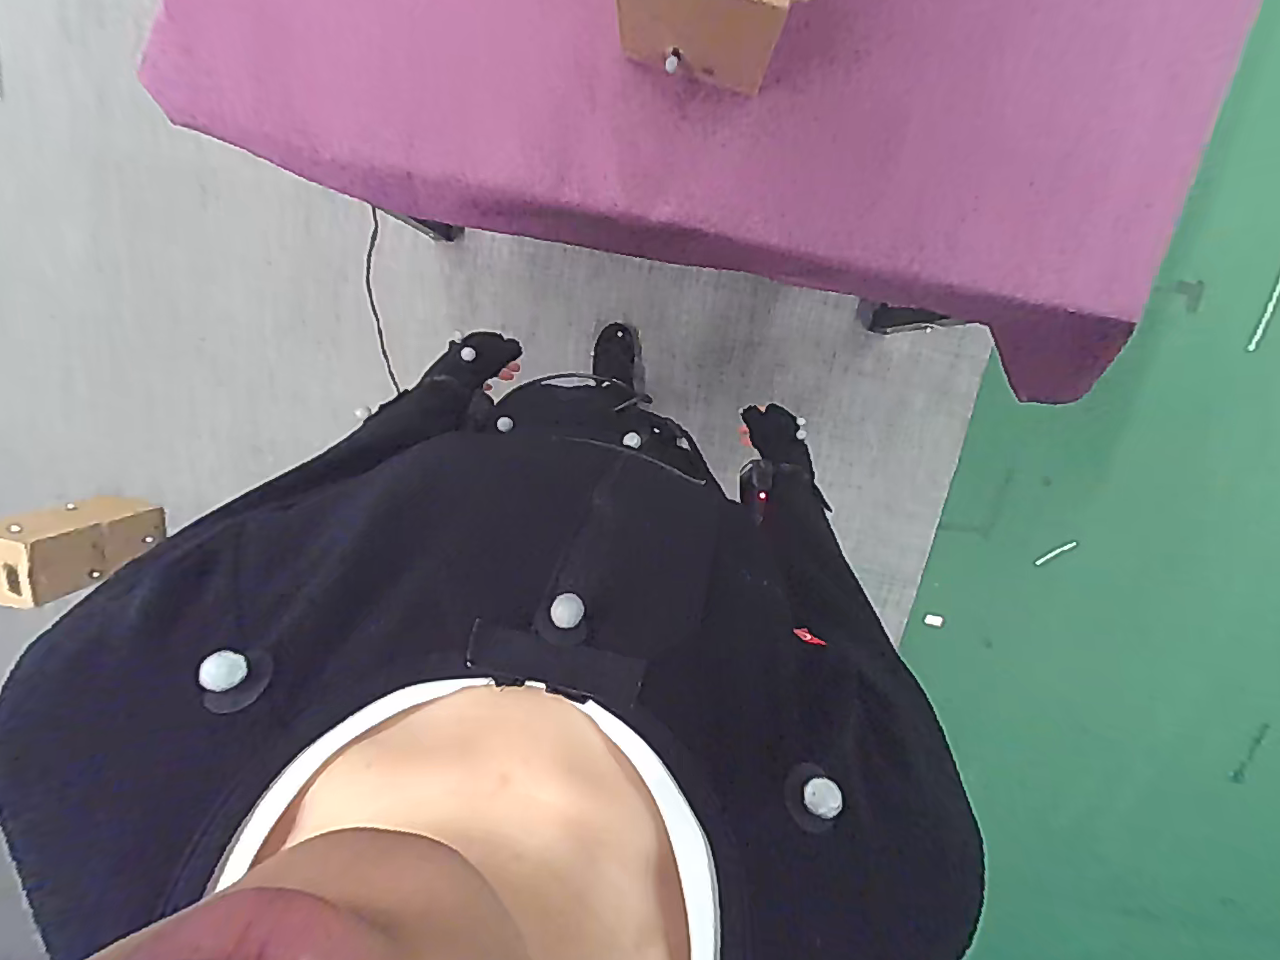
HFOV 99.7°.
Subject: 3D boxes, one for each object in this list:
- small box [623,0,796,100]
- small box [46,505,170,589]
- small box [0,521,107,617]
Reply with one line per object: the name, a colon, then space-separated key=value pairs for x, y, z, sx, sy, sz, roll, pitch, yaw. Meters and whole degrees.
small box: x=0.079 y=-0.526 z=0.533 sx=0.168 sy=0.176 sz=0.179 roll=15 pitch=103 yaw=-1
small box: x=-1.428 y=0.173 z=1.460 sx=0.179 sy=0.176 sz=0.168 roll=10 pitch=103 yaw=-1
small box: x=-1.439 y=0.206 z=1.300 sx=0.179 sy=0.176 sz=0.168 roll=9 pitch=102 yaw=0
